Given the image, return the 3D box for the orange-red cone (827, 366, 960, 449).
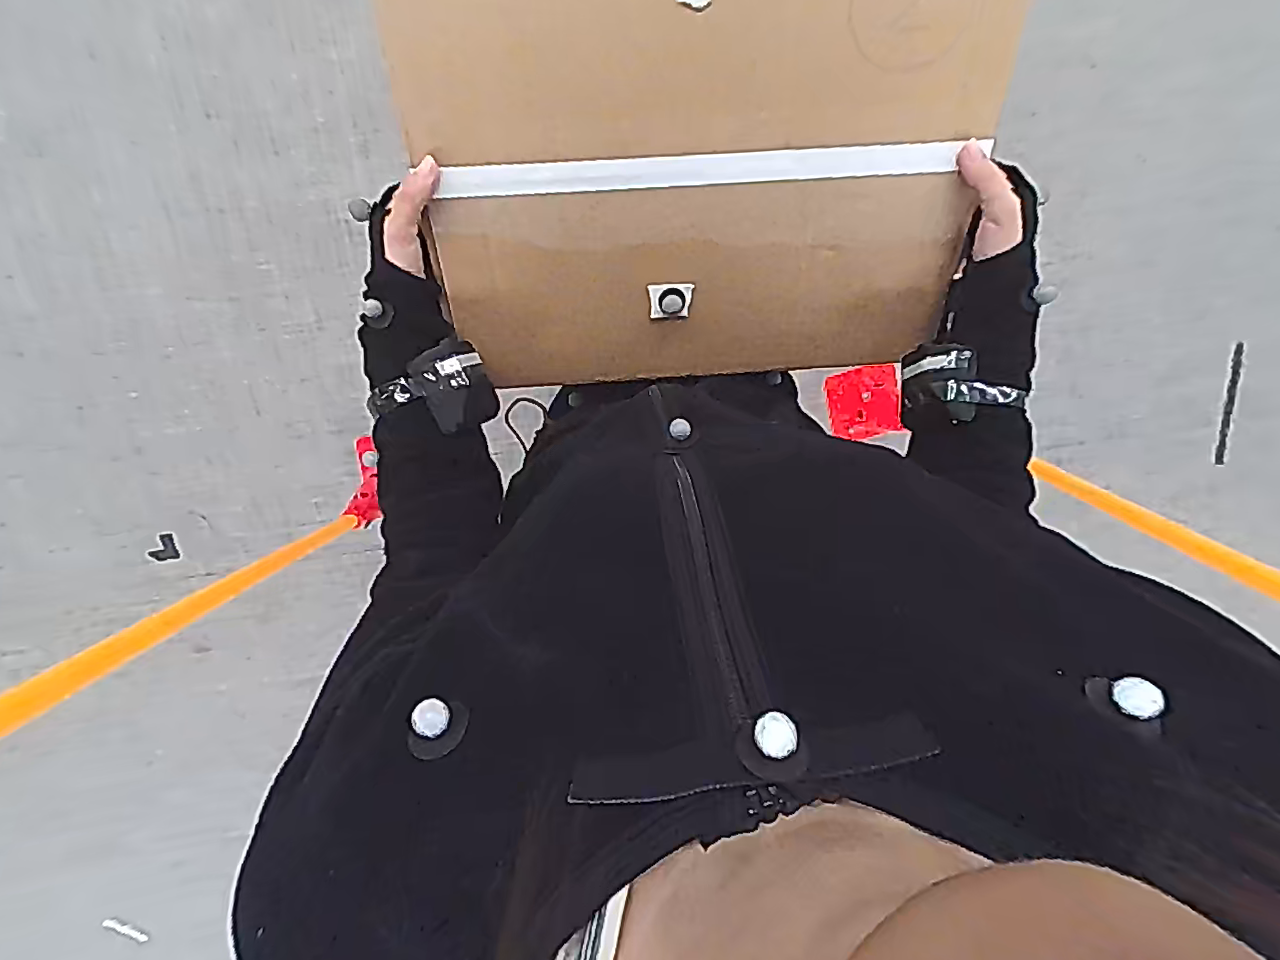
[{"bbox_3d":[0.625,-0.146,1.285,0.199,0.360,0.198,-16,108,-4],"label":"orange-red cone"}]
